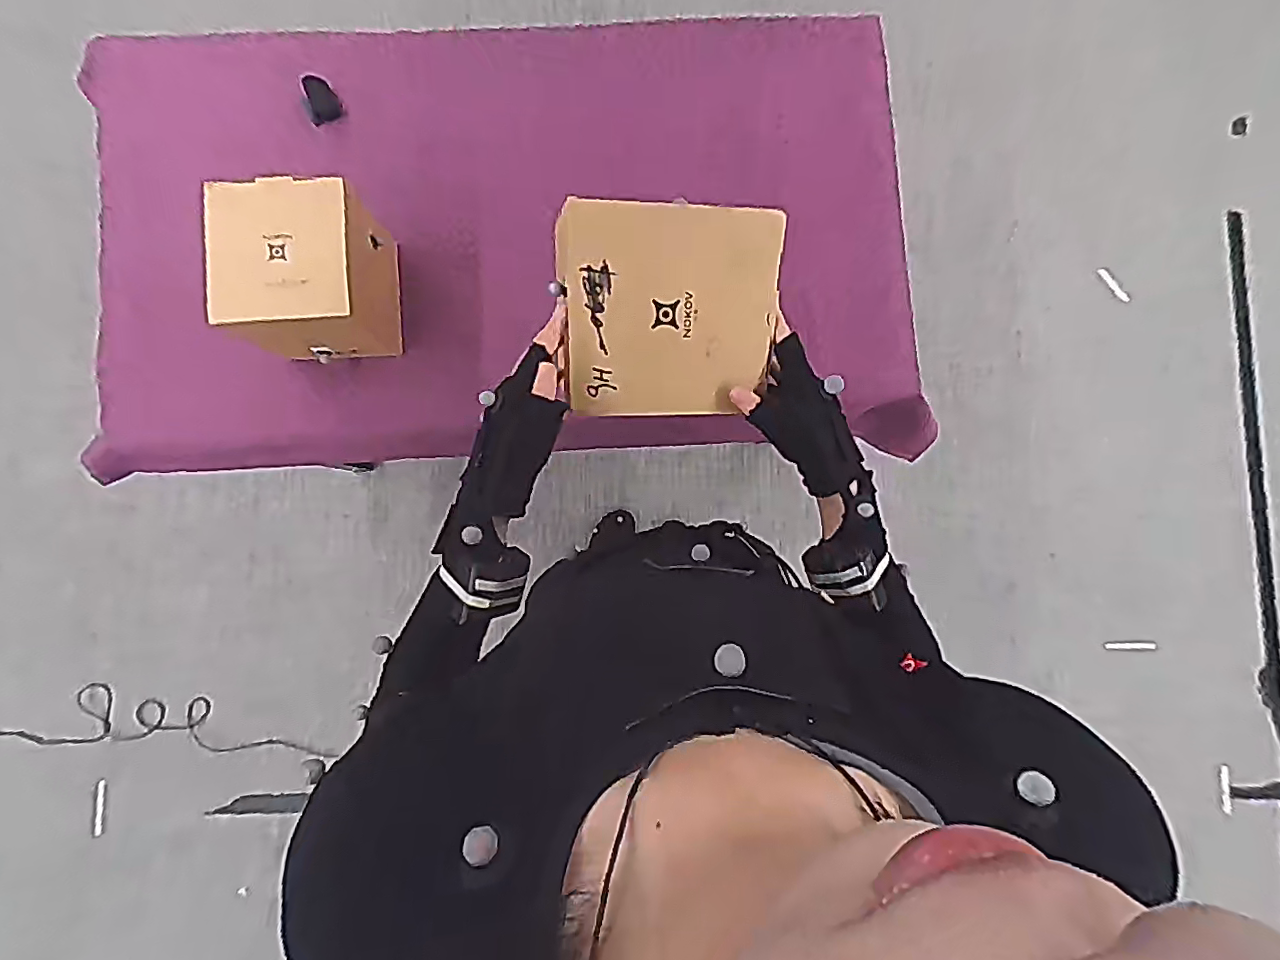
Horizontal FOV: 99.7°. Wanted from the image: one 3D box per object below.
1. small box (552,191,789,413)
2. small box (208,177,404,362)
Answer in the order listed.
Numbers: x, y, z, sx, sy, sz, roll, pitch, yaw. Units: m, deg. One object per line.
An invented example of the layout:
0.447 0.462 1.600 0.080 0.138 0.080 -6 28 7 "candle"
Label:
0.013 -0.162 0.505 0.179 0.176 0.168 -2 110 -12 "small box"
-0.432 -0.270 0.723 0.168 0.176 0.179 -5 87 -3 "small box"
